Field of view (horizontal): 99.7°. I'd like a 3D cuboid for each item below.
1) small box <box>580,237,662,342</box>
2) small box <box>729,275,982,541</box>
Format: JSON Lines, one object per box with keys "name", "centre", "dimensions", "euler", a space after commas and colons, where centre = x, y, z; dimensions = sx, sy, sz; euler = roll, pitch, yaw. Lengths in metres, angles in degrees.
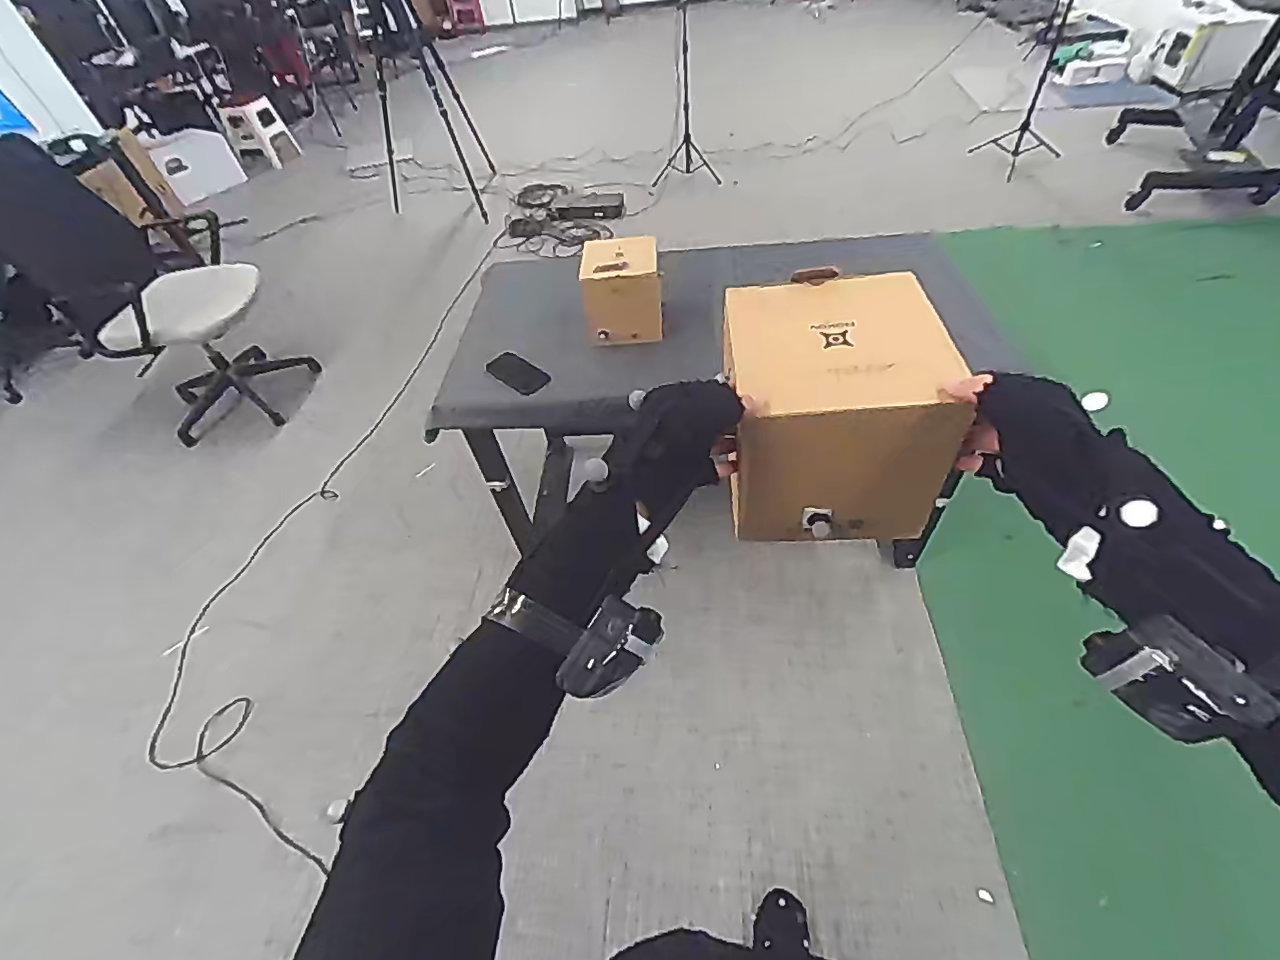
{"name": "small box", "centre": [-0.035, -0.429, 1.238], "dimensions": [0.168, 0.176, 0.179], "euler": [-3, 48, 4]}
{"name": "small box", "centre": [0.170, -0.063, 0.499], "dimensions": [0.168, 0.176, 0.179], "euler": [-3, 50, 6]}
